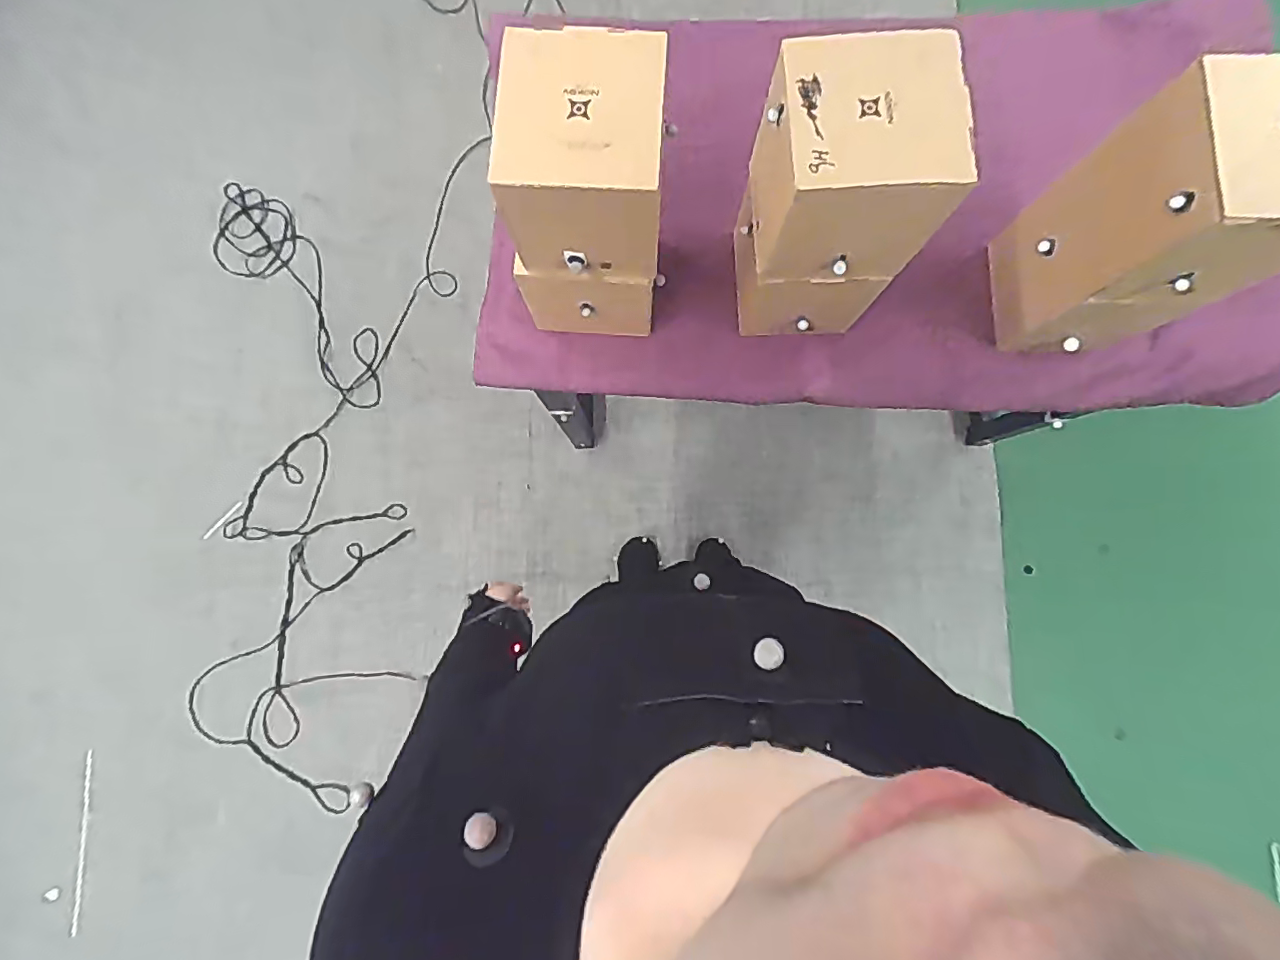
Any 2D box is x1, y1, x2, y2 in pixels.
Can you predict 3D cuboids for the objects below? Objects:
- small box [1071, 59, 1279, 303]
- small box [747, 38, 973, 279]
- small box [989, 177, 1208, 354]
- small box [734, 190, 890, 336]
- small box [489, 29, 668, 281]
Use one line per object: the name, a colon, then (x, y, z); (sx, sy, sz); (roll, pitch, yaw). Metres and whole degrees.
small box: (0.623, -0.317, 0.599); (0.168, 0.176, 0.179); (-1, 83, 0)
small box: (0.227, -0.341, 0.600); (0.179, 0.176, 0.168); (-2, 81, -1)
small box: (0.623, -0.292, 0.759); (0.168, 0.176, 0.179); (0, 83, 1)
small box: (0.229, -0.320, 0.763); (0.168, 0.176, 0.179); (-2, 82, 1)
small box: (-0.058, -0.347, 0.603); (0.168, 0.176, 0.179); (2, 82, 2)
